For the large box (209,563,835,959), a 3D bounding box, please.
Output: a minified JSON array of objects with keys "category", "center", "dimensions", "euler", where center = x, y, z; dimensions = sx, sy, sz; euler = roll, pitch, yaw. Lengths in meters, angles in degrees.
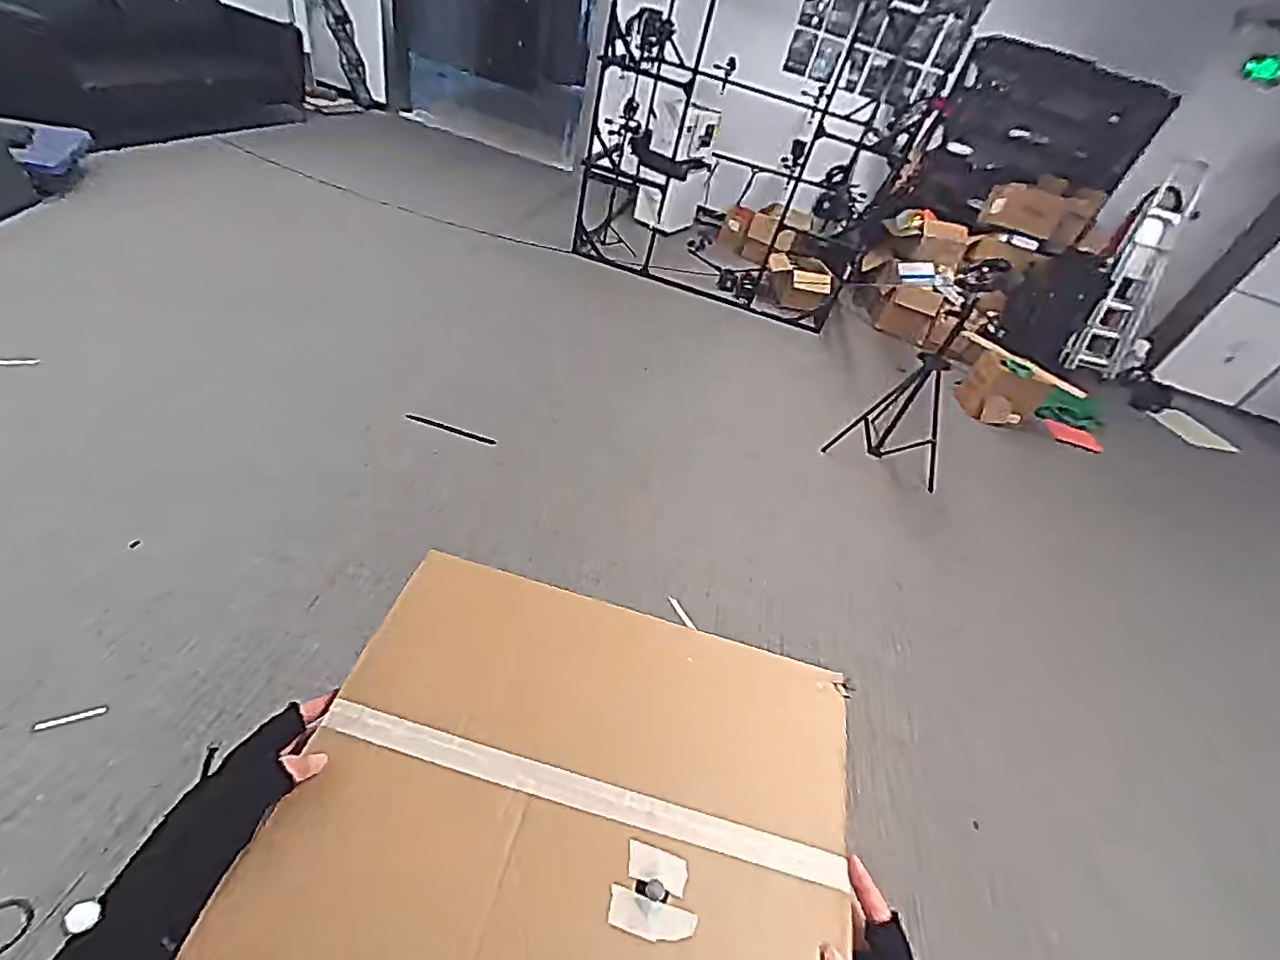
[{"category":"large box","center":[-0.066,0.336,0.531],"dimensions":[0.408,0.320,0.320],"euler":[16,49,3]}]
